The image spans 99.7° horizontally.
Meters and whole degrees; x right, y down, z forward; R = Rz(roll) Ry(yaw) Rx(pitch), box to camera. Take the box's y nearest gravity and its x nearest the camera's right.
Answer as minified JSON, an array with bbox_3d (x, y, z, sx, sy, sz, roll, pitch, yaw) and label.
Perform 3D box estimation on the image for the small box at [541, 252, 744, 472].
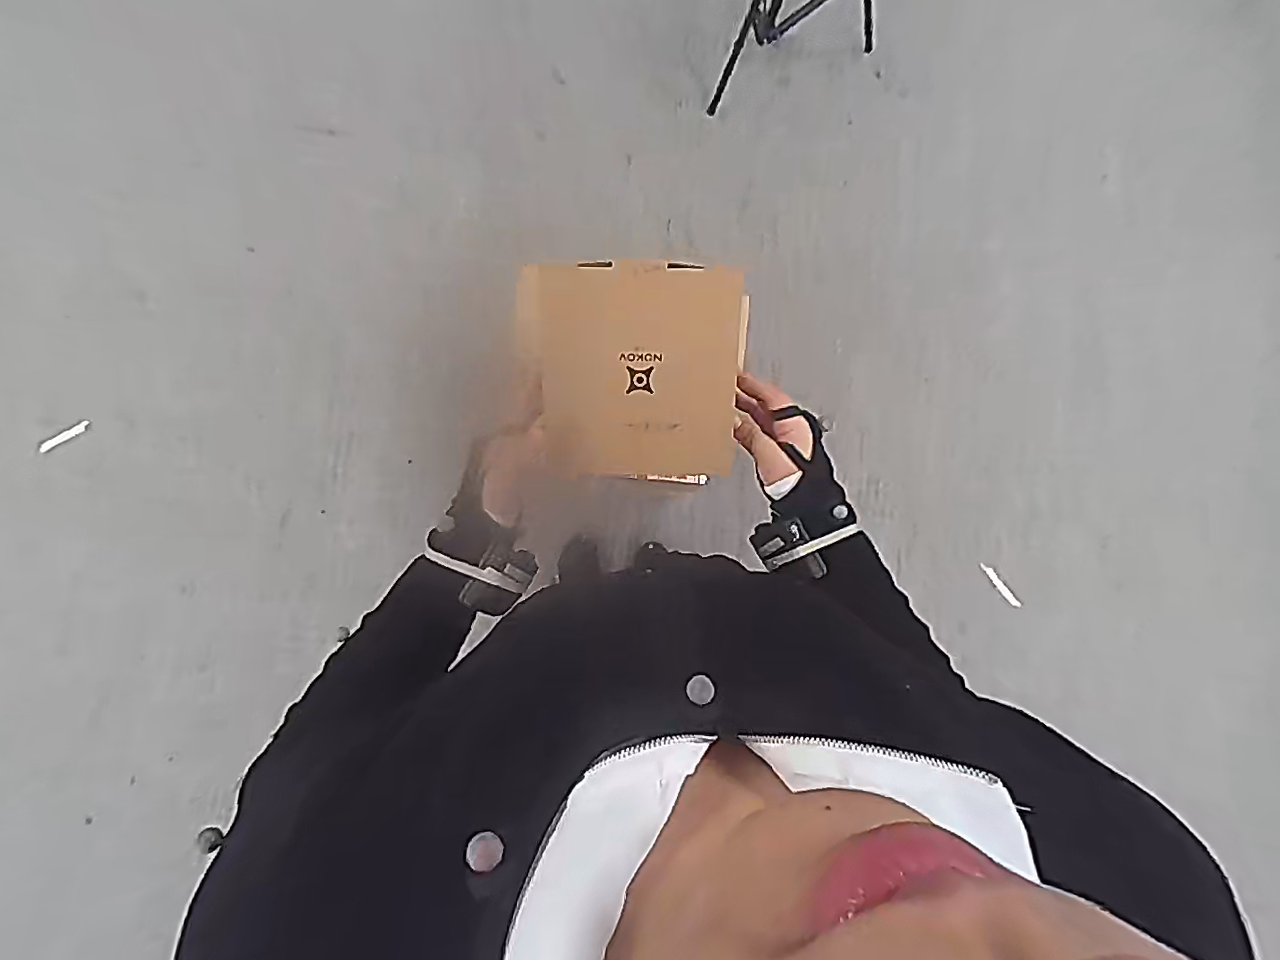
[{"bbox_3d":[-0.004,-0.112,0.523,0.168,0.176,0.179,1,105,-2],"label":"small box"}]
